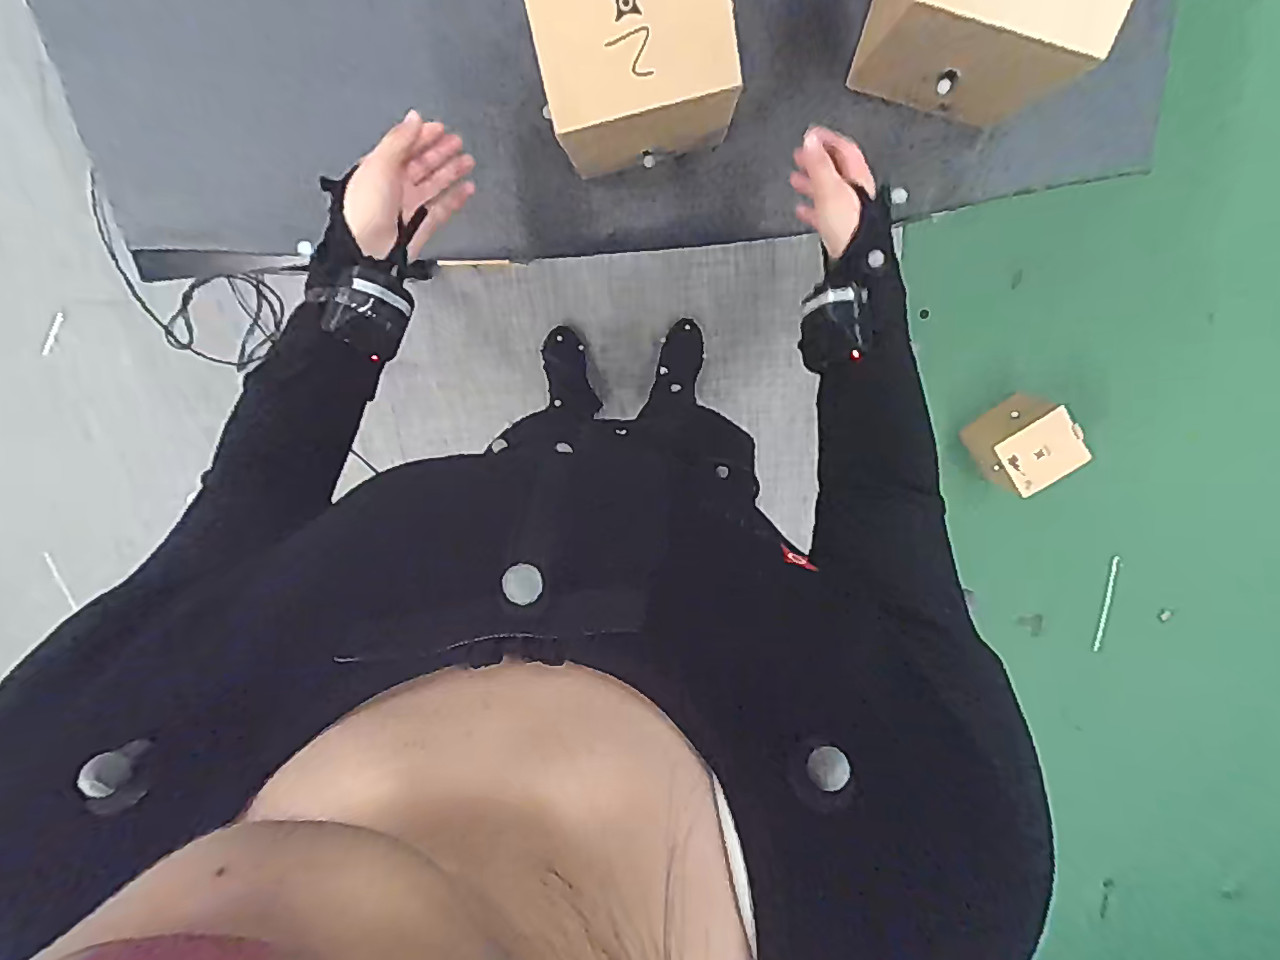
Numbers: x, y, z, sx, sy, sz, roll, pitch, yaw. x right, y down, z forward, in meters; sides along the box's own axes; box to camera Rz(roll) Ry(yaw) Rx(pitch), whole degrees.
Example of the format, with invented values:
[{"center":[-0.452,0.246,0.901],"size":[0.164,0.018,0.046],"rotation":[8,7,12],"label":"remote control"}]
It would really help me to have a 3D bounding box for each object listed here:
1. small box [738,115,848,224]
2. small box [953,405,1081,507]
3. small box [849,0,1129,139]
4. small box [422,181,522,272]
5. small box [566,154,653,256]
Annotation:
[{"center":[0.322,-0.667,1.182],"size":[0.179,0.176,0.168],"rotation":[8,109,-2],"label":"small box"},{"center":[0.939,-0.068,1.362],"size":[0.179,0.176,0.168],"rotation":[-35,104,12],"label":"small box"},{"center":[0.312,-0.442,0.486],"size":[0.168,0.176,0.179],"rotation":[16,106,-3],"label":"small box"},{"center":[-0.376,-0.573,1.242],"size":[0.168,0.176,0.179],"rotation":[0,108,2],"label":"small box"},{"center":[-0.060,-0.607,1.217],"size":[0.168,0.176,0.179],"rotation":[-7,107,4],"label":"small box"}]
